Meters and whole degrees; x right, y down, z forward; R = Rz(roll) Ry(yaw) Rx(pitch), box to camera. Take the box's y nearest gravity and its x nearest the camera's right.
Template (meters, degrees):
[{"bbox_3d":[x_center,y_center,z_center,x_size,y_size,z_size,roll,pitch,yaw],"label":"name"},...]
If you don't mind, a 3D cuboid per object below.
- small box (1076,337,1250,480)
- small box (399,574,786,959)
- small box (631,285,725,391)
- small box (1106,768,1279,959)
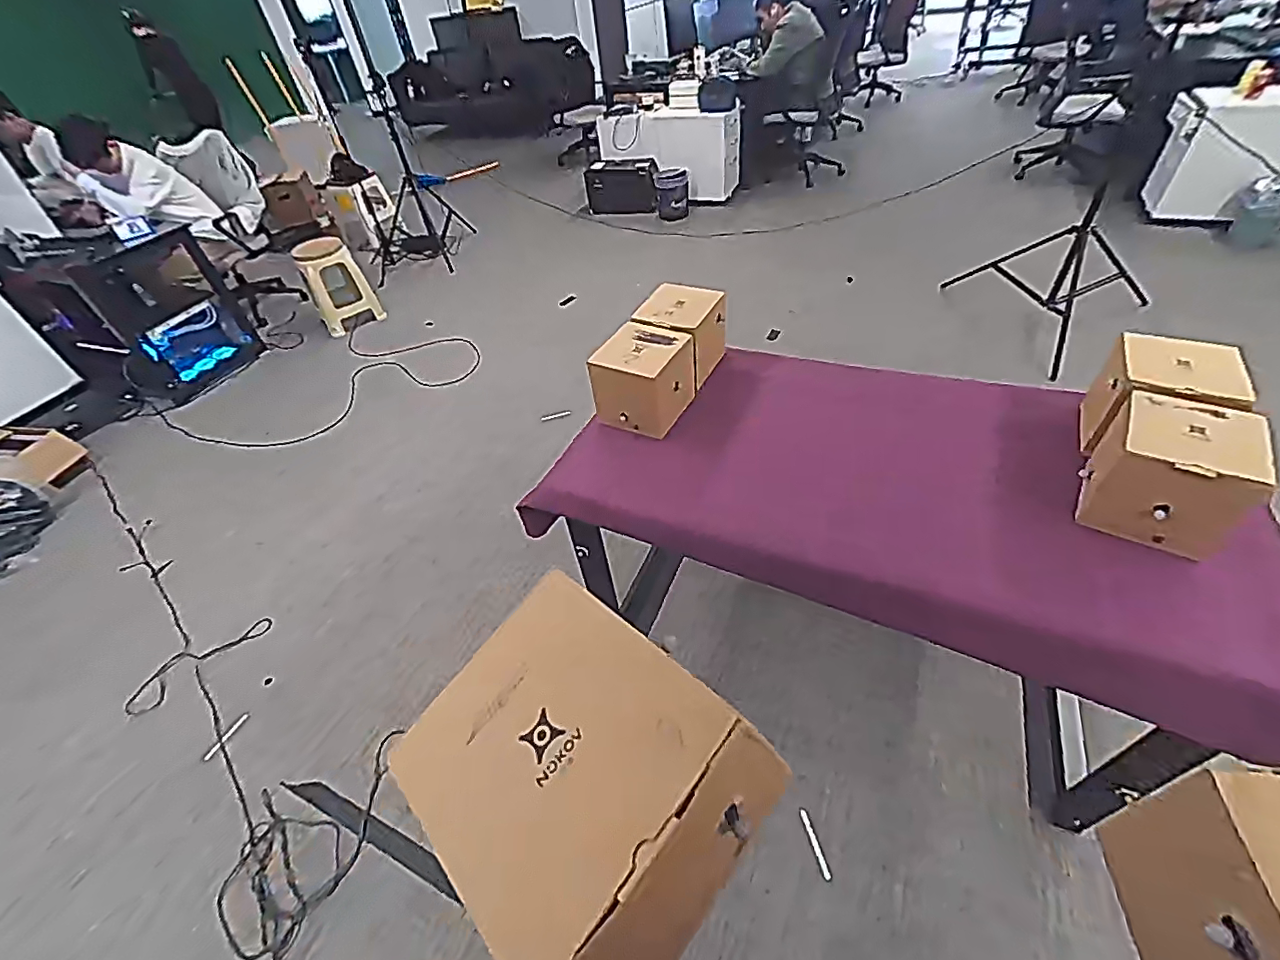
[{"bbox_3d":[0.925,-0.131,0.979,0.168,0.176,0.179,18,49,23],"label":"small box"},{"bbox_3d":[-0.020,0.203,0.378,0.179,0.176,0.168,28,69,40],"label":"small box"},{"bbox_3d":[0.096,-0.345,1.311,0.168,0.176,0.179,18,51,24],"label":"small box"},{"bbox_3d":[0.407,0.281,0.292,0.168,0.176,0.179,-2,48,15],"label":"small box"}]
